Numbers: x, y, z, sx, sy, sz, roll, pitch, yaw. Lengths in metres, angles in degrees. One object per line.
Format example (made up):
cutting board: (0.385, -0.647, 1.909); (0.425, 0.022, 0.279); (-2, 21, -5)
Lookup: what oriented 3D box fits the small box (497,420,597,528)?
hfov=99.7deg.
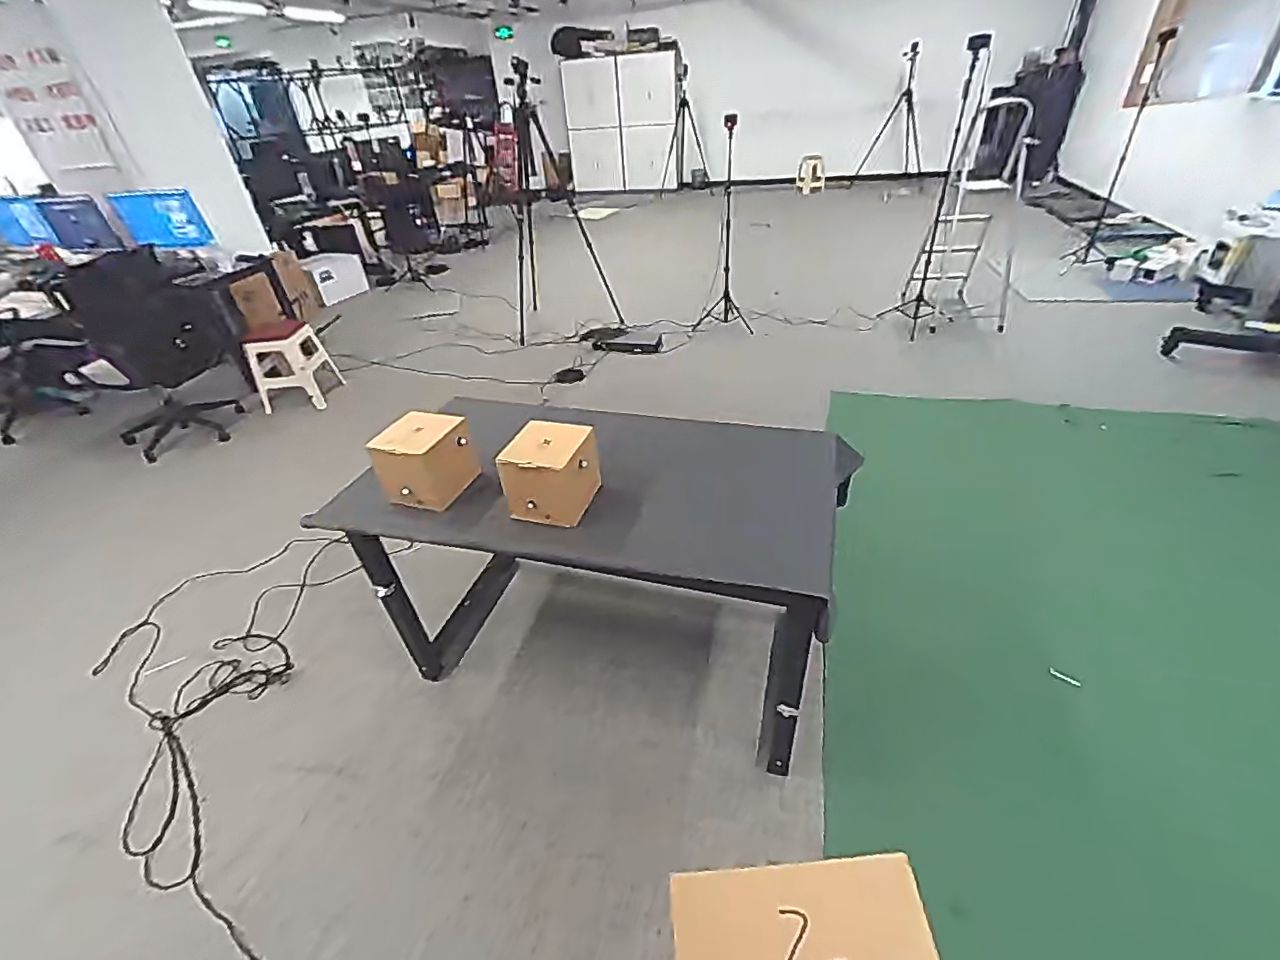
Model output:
small box: (-0.206, -0.016, 1.254); (0.168, 0.176, 0.179); (9, 38, 16)

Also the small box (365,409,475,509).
small box: (-0.528, -0.054, 1.329); (0.168, 0.176, 0.179); (9, 37, 17)
